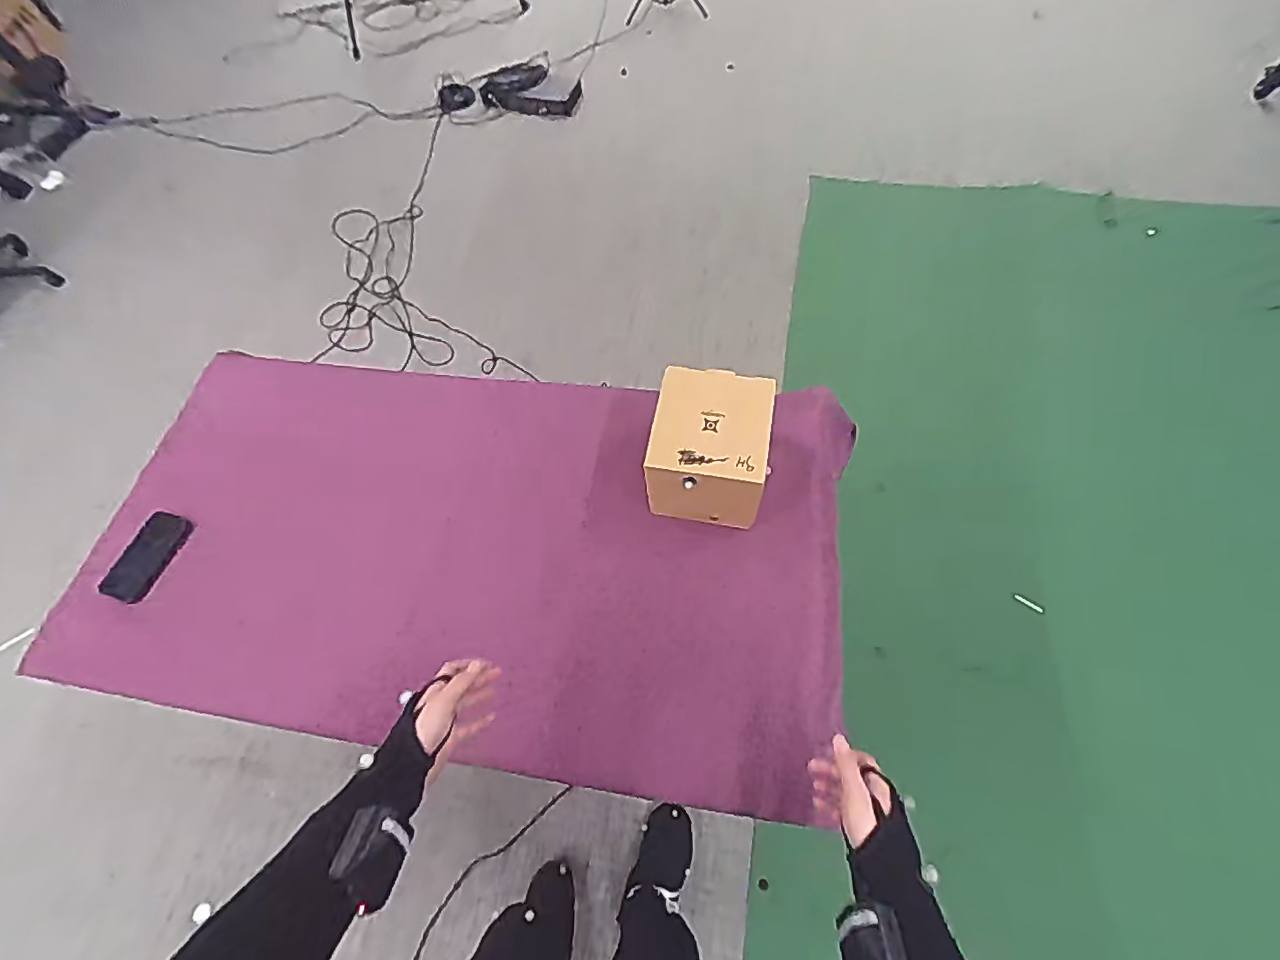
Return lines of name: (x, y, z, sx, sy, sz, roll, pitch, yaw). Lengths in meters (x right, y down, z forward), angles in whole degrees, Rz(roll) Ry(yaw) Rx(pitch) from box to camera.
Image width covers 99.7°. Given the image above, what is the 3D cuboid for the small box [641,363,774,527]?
small box: (0.102, -0.049, 0.824, 0.168, 0.176, 0.179, 9, 64, 10)
